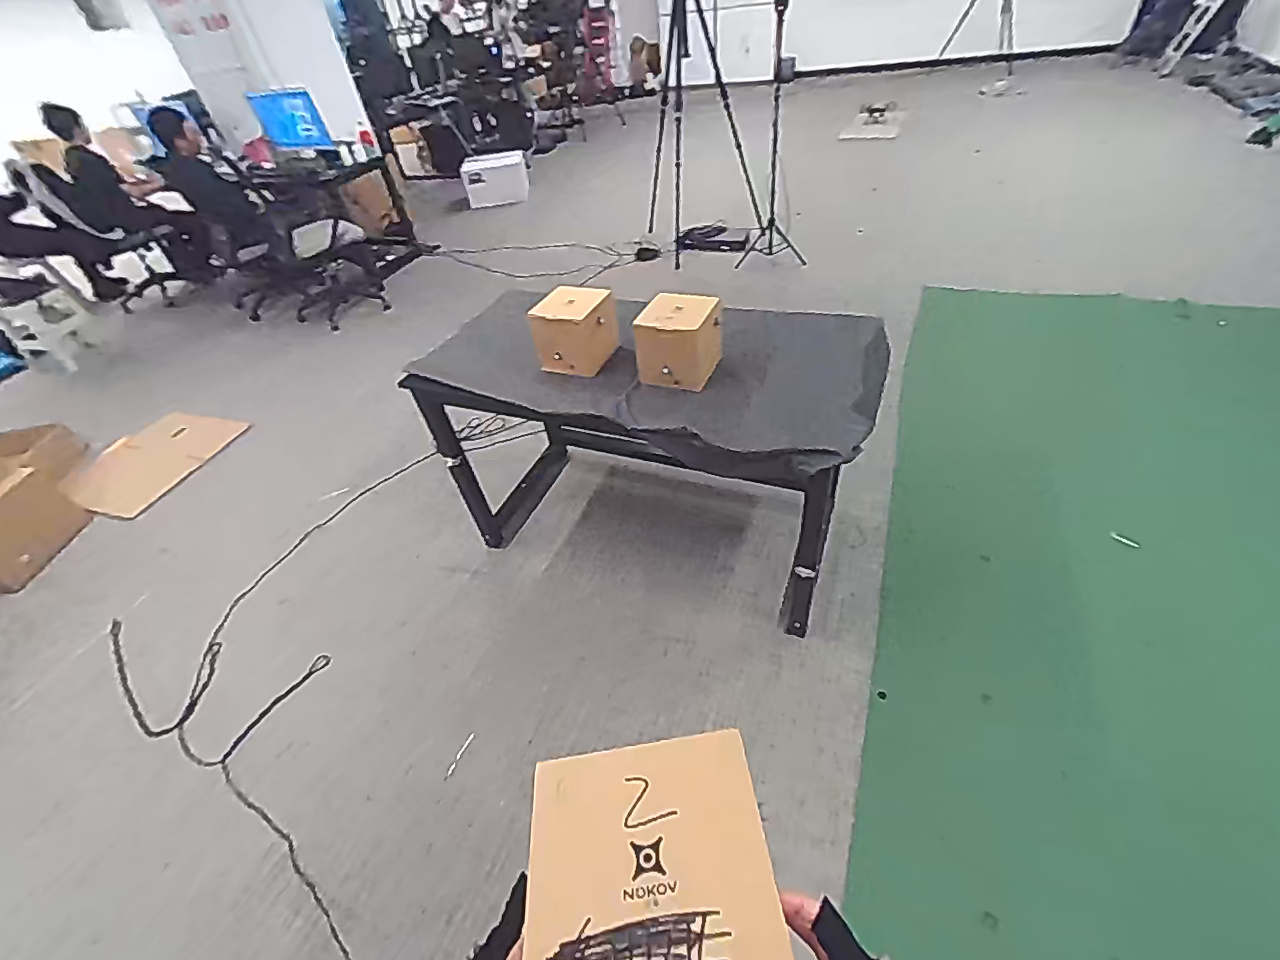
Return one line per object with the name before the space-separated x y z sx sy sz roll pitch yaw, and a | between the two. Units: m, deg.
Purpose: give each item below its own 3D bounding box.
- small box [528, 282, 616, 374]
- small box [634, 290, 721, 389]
small box | -0.174 -0.412 1.462 0.168 0.176 0.179 13 48 21
small box | 0.098 -0.353 1.356 0.168 0.176 0.179 13 47 22
